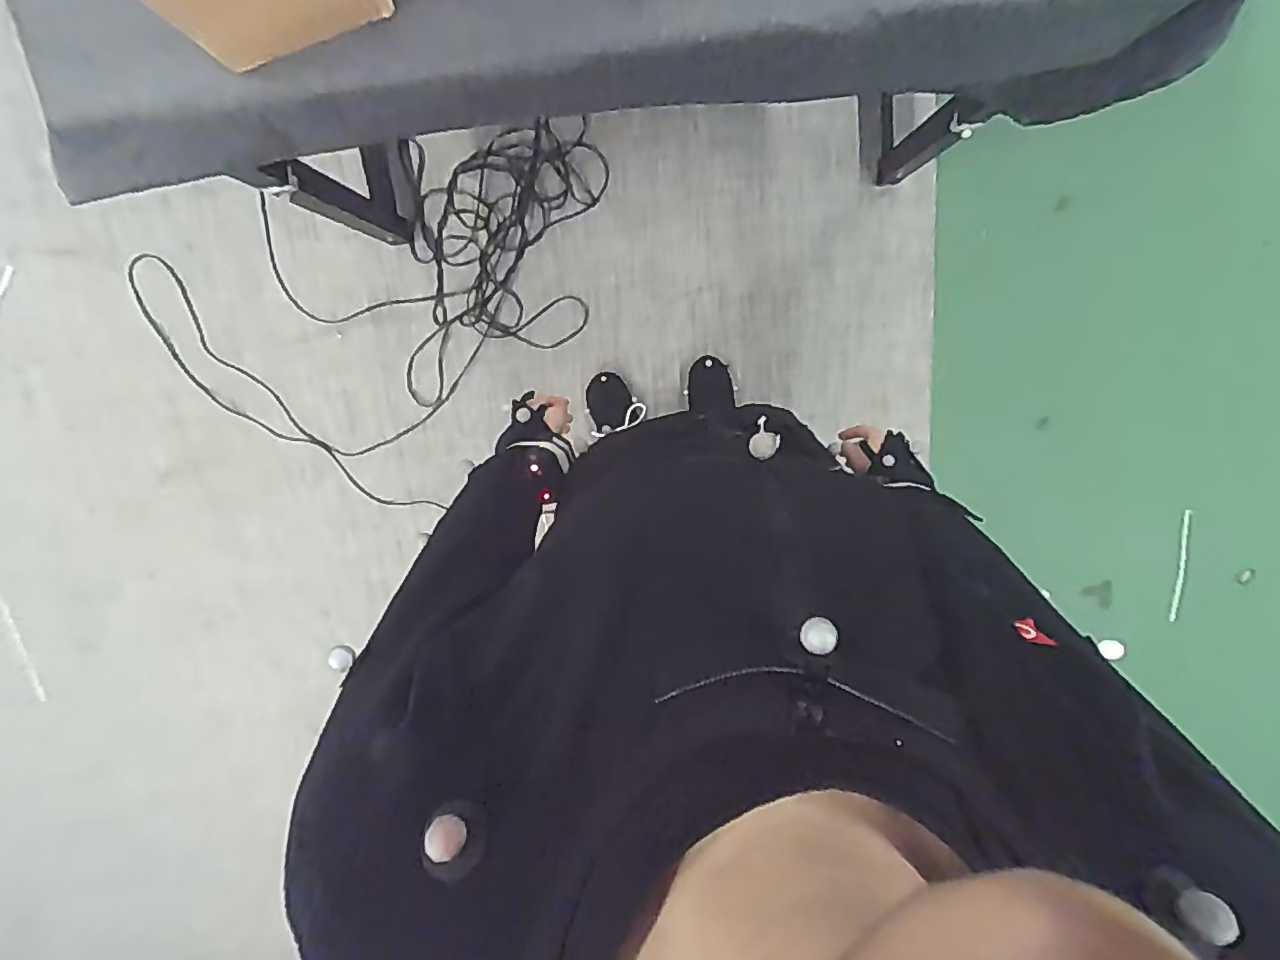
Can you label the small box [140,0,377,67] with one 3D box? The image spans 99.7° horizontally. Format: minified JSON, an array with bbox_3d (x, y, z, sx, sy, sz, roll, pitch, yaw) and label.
[{"bbox_3d":[-0.342,-0.489,0.439,0.179,0.176,0.168,-16,101,4],"label":"small box"}]
